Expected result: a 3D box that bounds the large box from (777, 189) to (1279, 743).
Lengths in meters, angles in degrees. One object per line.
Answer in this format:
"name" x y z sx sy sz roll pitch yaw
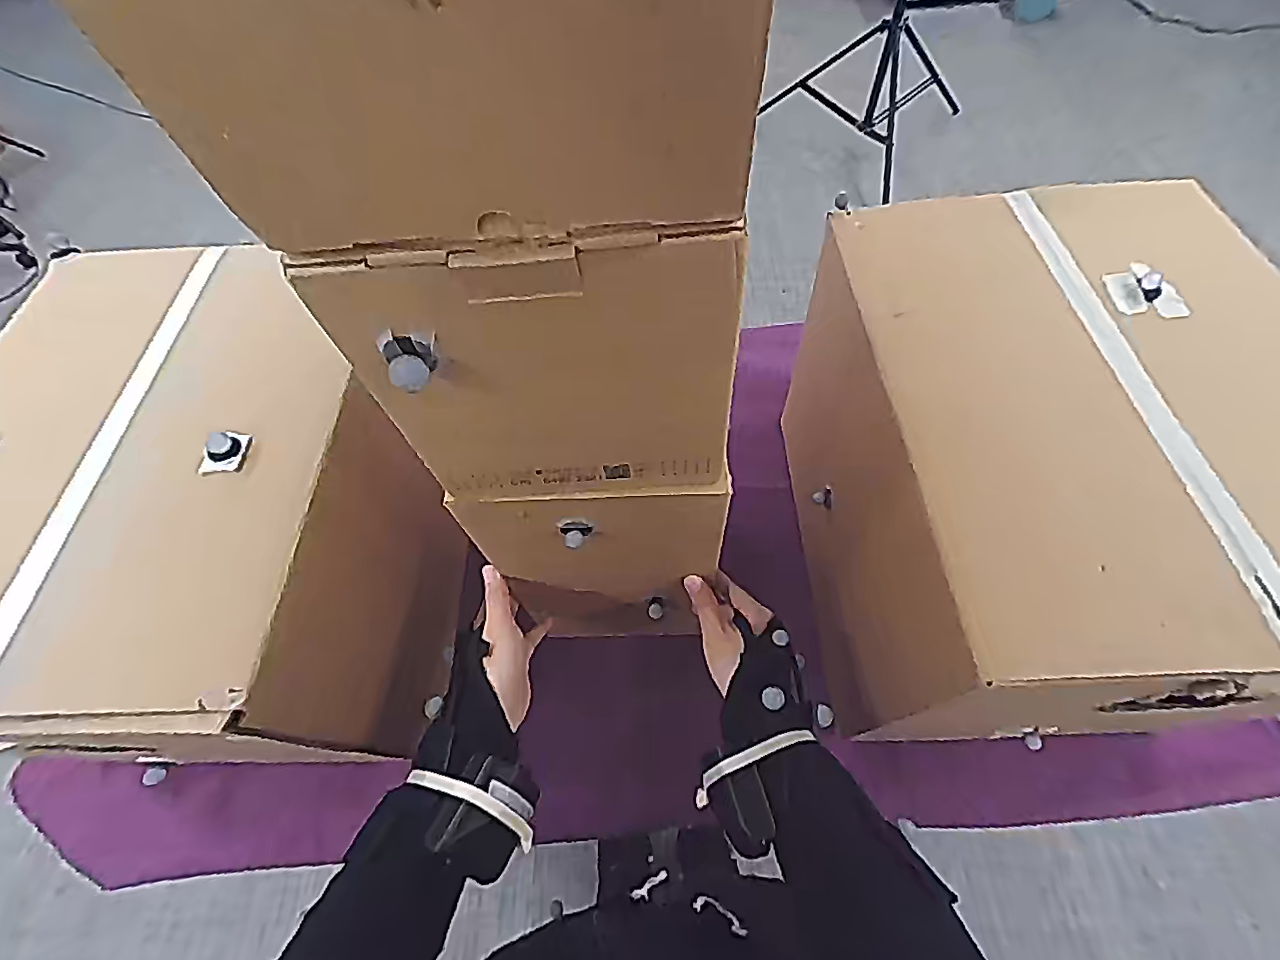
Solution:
"large box" 0.331 0.001 0.504 0.320 0.320 0.408 -3 58 2
